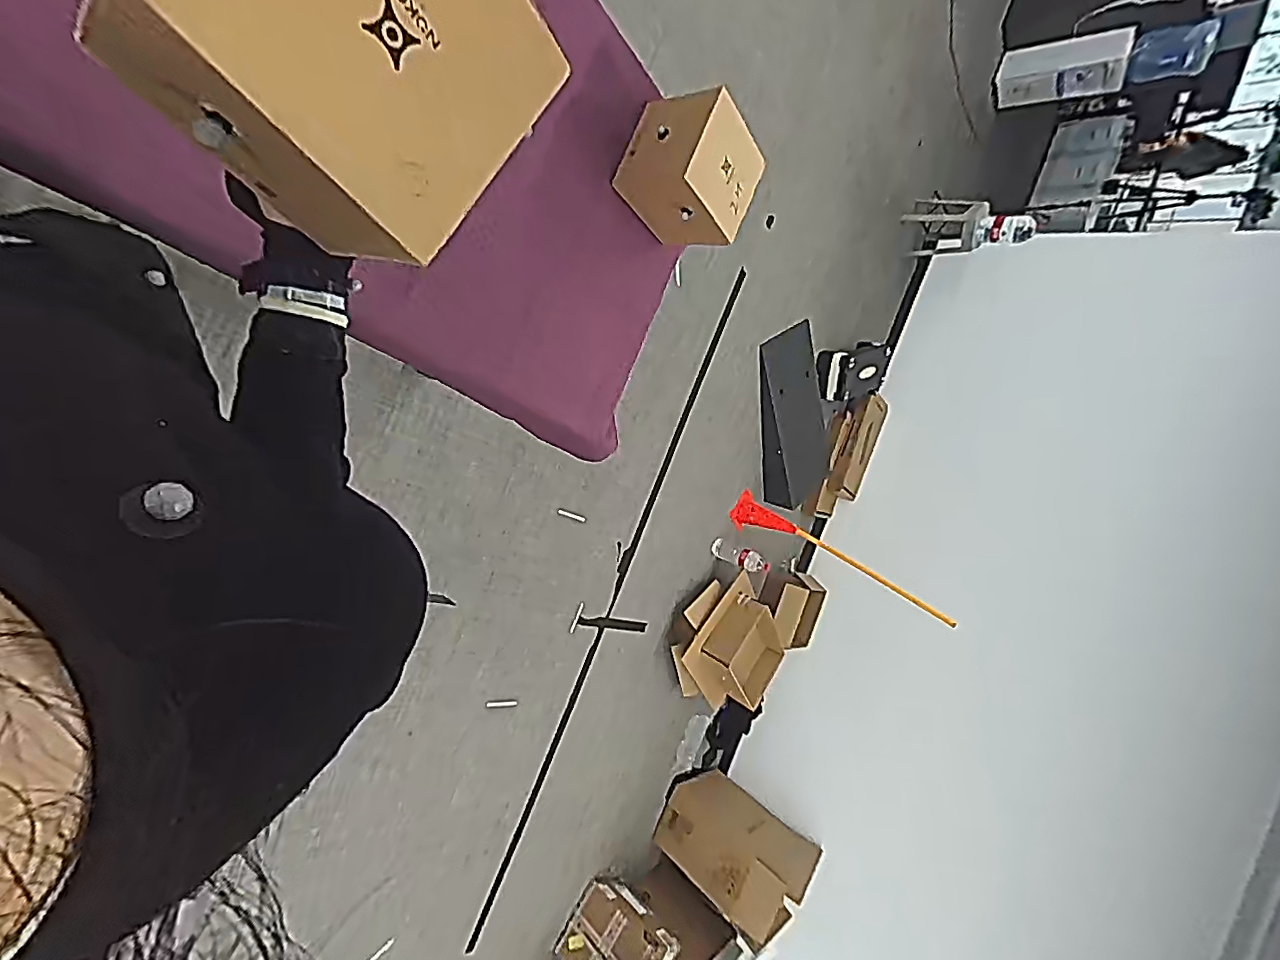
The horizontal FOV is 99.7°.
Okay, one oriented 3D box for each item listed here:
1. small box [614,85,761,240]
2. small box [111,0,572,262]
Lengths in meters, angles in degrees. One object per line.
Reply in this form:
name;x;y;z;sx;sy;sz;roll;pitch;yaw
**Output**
small box;0.083;-0.551;0.968;0.179;0.176;0.168;26;86;-51
small box;-0.185;-0.265;0.344;0.179;0.176;0.168;-60;140;-11
